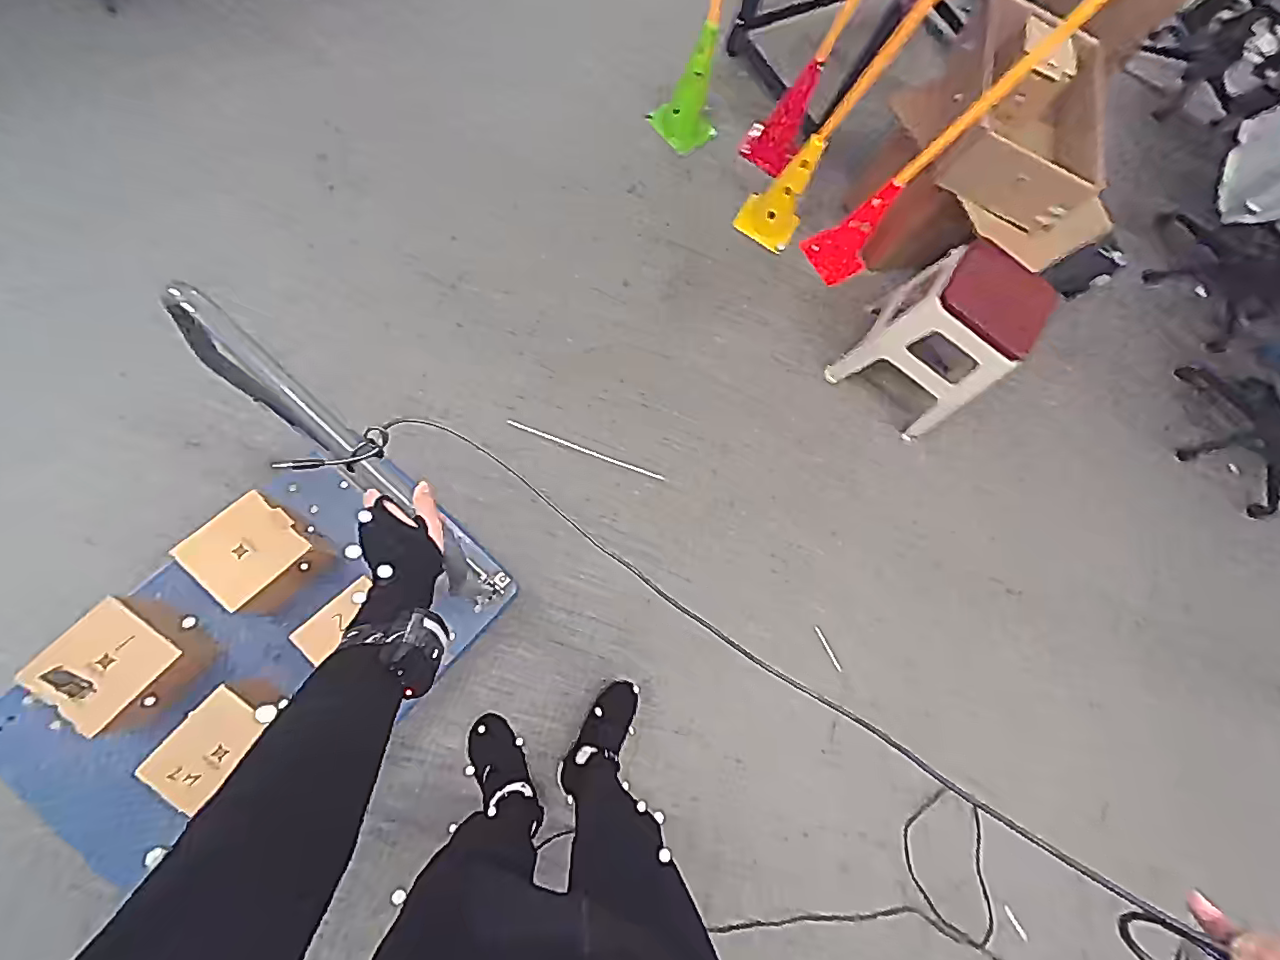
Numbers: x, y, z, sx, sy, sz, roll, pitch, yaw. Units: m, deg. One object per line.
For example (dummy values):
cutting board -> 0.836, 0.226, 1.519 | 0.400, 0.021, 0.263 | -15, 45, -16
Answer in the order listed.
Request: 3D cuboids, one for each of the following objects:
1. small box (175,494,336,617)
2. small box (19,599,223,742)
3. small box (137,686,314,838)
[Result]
small box -> -0.762, 0.161, 1.096 | 0.168, 0.176, 0.179 | 44, 69, 2
small box -> -0.936, 0.344, 0.999 | 0.168, 0.176, 0.179 | 40, 68, 0
small box -> -0.742, 0.504, 0.999 | 0.168, 0.176, 0.179 | 39, 69, 1
